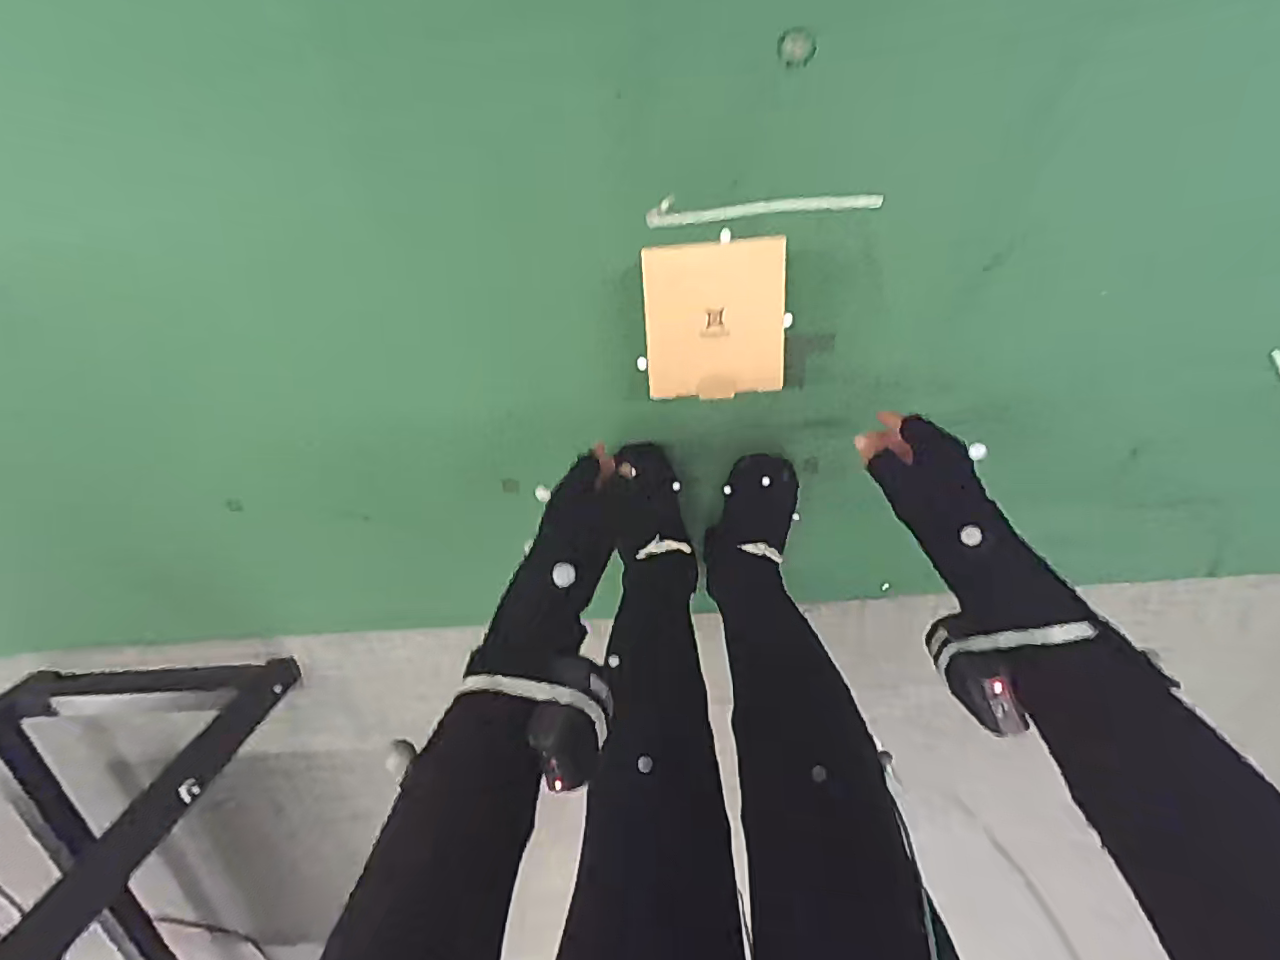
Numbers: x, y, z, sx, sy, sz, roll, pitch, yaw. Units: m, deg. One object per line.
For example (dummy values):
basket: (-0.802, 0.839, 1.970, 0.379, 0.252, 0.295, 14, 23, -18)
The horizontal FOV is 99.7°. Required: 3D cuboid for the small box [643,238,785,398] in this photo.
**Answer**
small box: (0.092, -0.217, 0.720, 0.168, 0.176, 0.179, -4, 112, 4)
